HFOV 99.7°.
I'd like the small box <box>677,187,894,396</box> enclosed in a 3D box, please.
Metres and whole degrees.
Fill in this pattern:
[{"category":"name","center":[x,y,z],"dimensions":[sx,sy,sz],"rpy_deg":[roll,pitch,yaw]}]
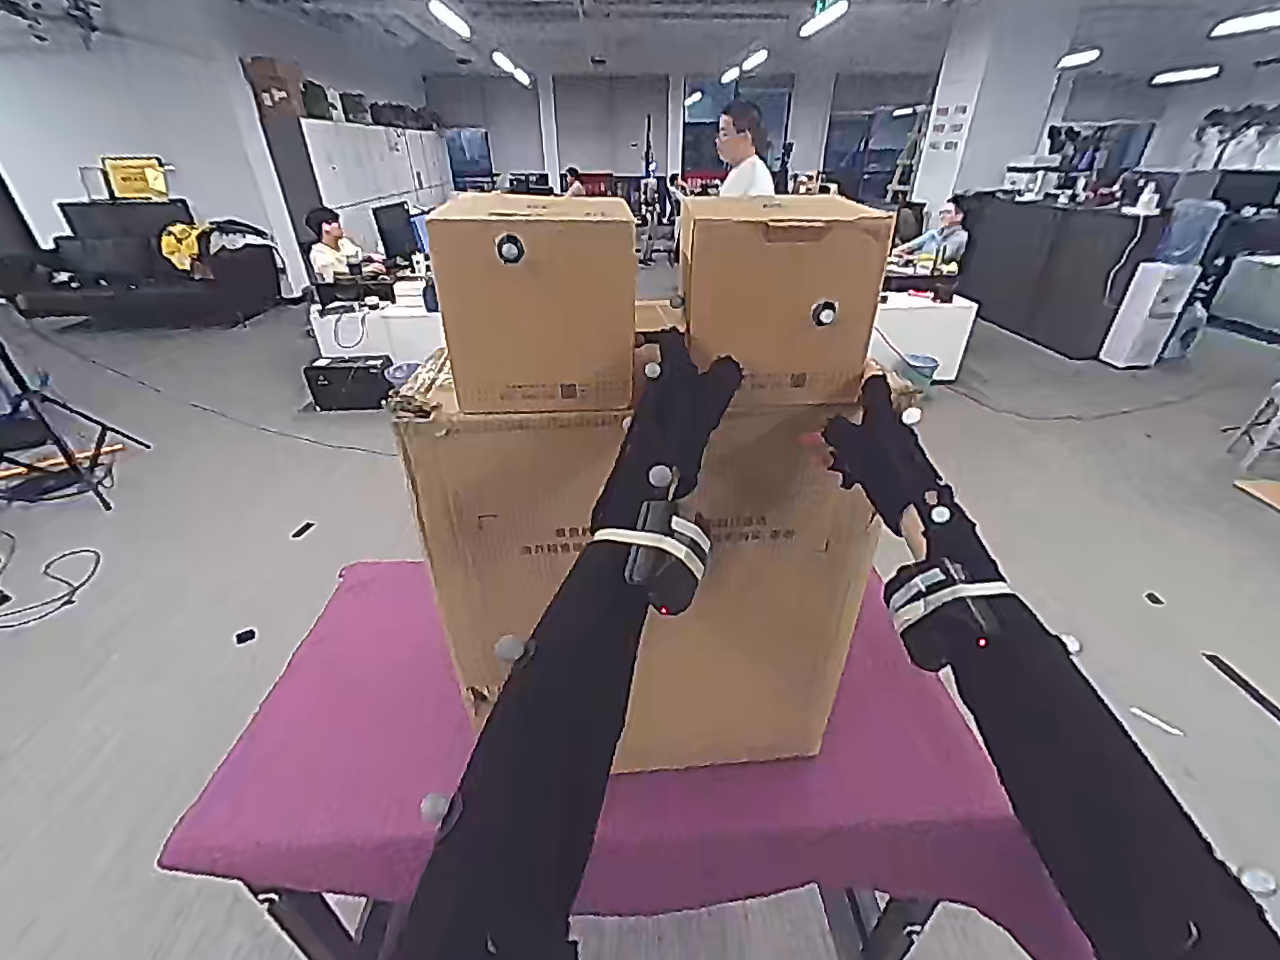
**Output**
[{"category":"small box","center":[0.125,-0.191,0.543],"dimensions":[0.168,0.176,0.179],"rpy_deg":[0,32,0]}]
